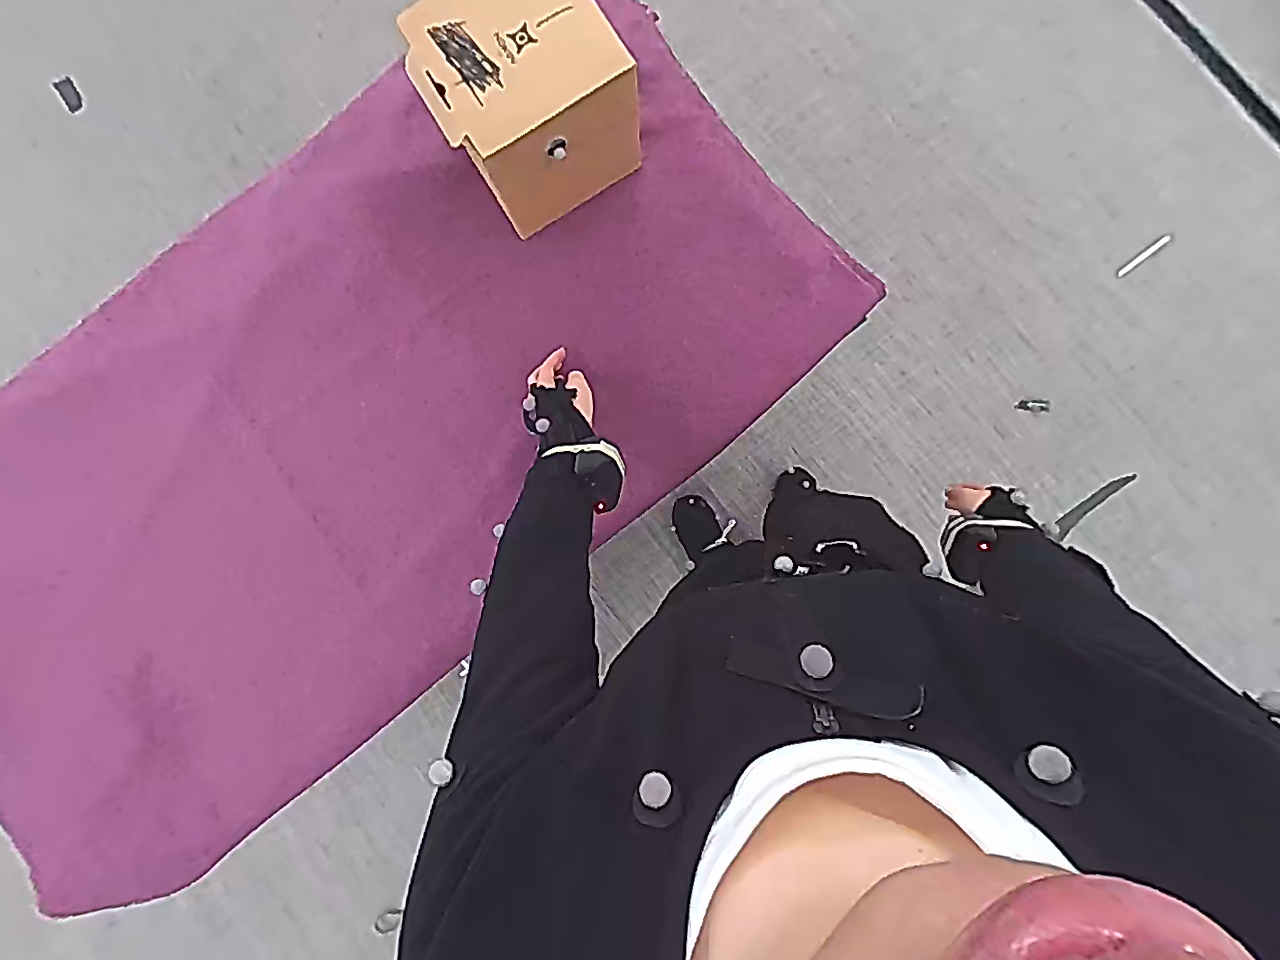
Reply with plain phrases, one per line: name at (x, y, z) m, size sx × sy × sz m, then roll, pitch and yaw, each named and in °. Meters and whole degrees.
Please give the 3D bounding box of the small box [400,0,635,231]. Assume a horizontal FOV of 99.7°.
small box at (-0.117, -0.417, 0.598) m, size 0.179 × 0.176 × 0.168 m, roll -32°, pitch 89°, yaw 0°
